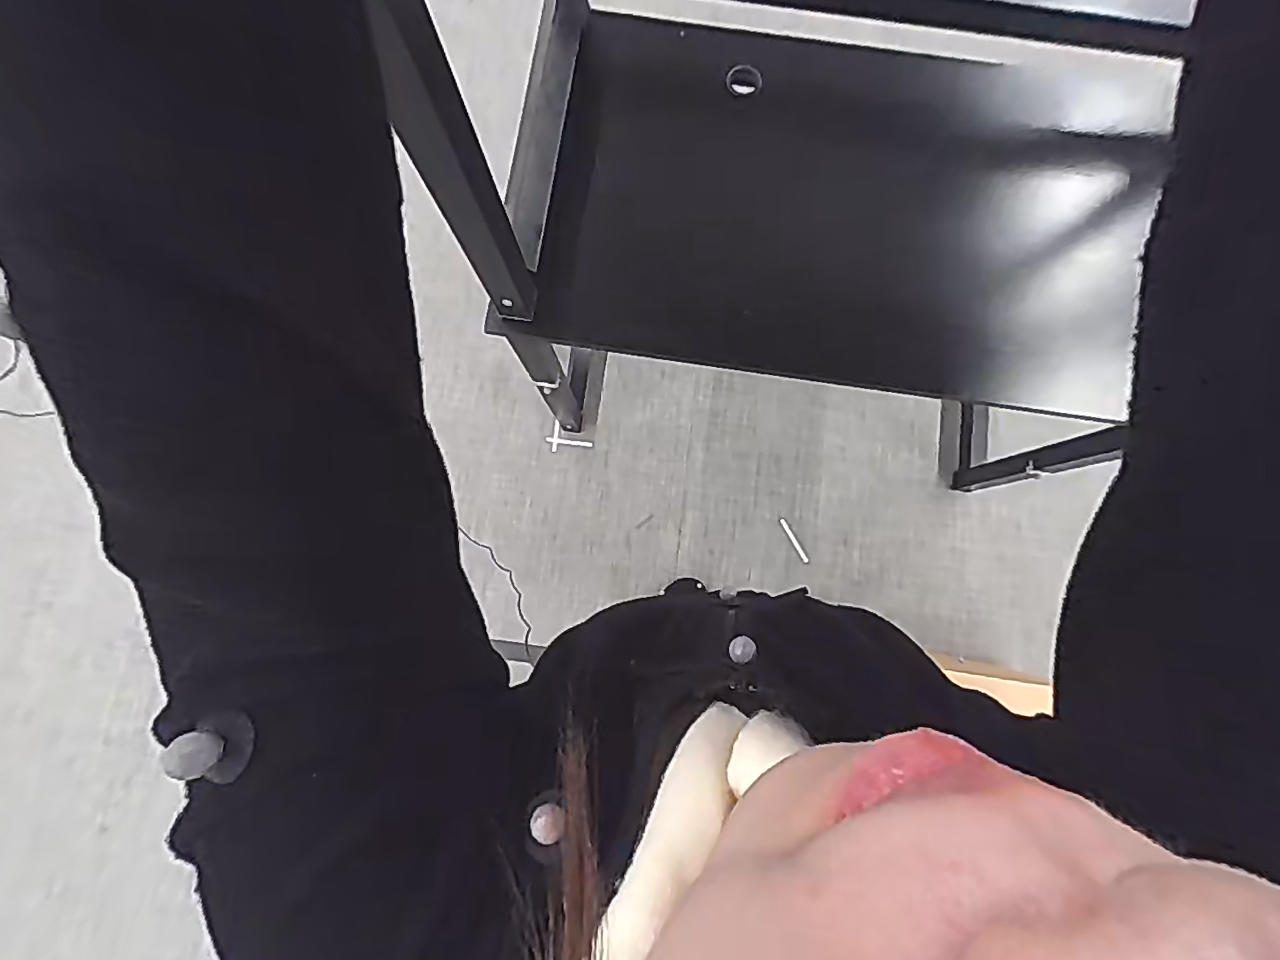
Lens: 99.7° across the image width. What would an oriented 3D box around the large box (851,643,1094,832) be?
[{"bbox_3d":[0.774,0.594,1.312,0.408,0.320,0.320,8,83,0],"label":"large box"}]
